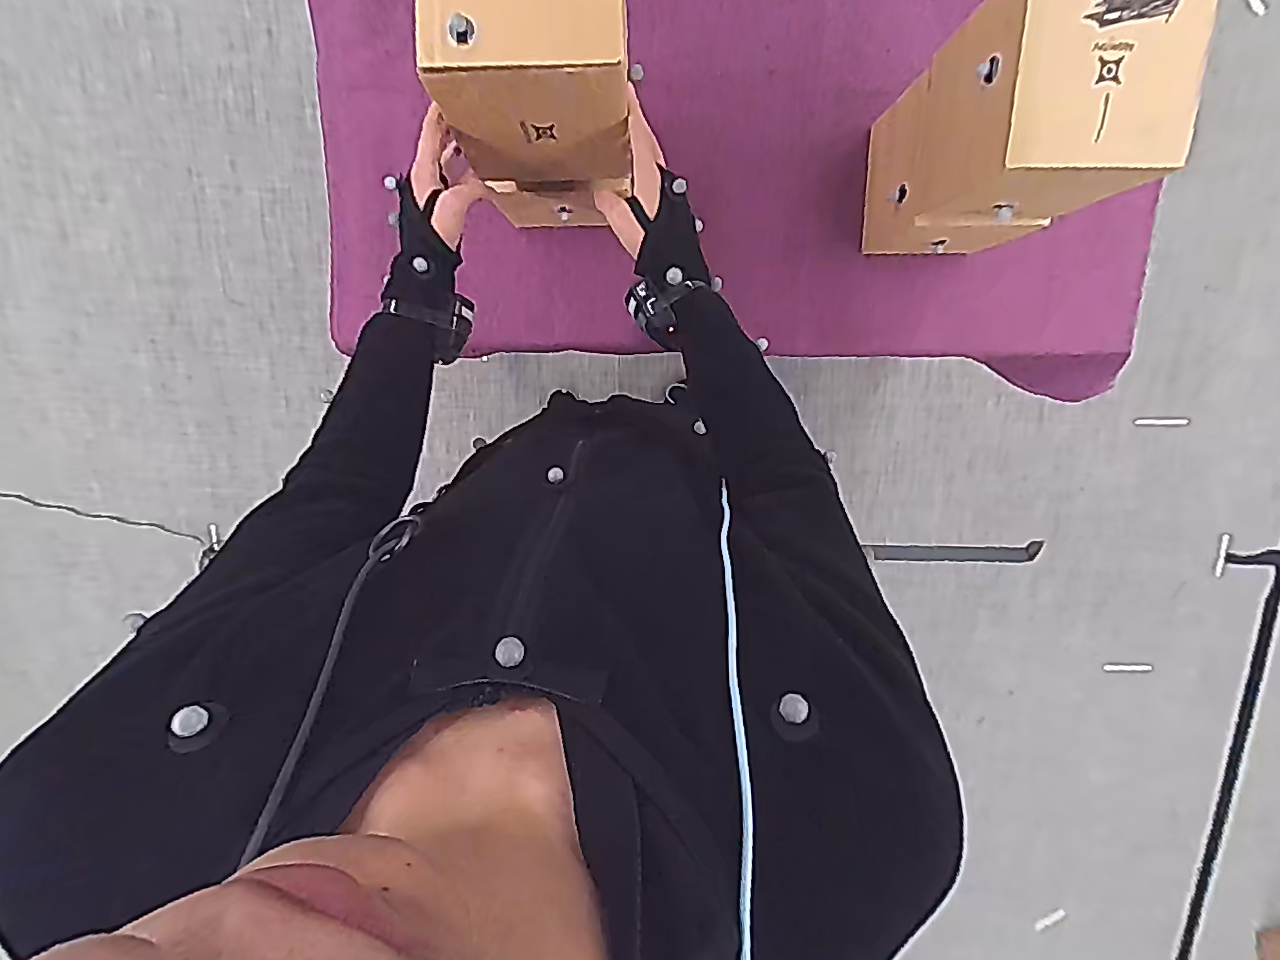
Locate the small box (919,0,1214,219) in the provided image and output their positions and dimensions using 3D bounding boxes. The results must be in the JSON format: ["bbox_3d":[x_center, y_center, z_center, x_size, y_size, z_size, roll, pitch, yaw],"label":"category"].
[{"bbox_3d":[0.415,-0.388,0.558,0.168,0.176,0.179,1,103,0],"label":"small box"}]

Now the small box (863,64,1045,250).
[{"bbox_3d":[0.414,-0.413,0.721,0.168,0.176,0.179,0,102,0],"label":"small box"}]

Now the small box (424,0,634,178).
[{"bbox_3d":[-0.096,-0.423,0.525,0.179,0.168,0.176,0,89,0],"label":"small box"}]
